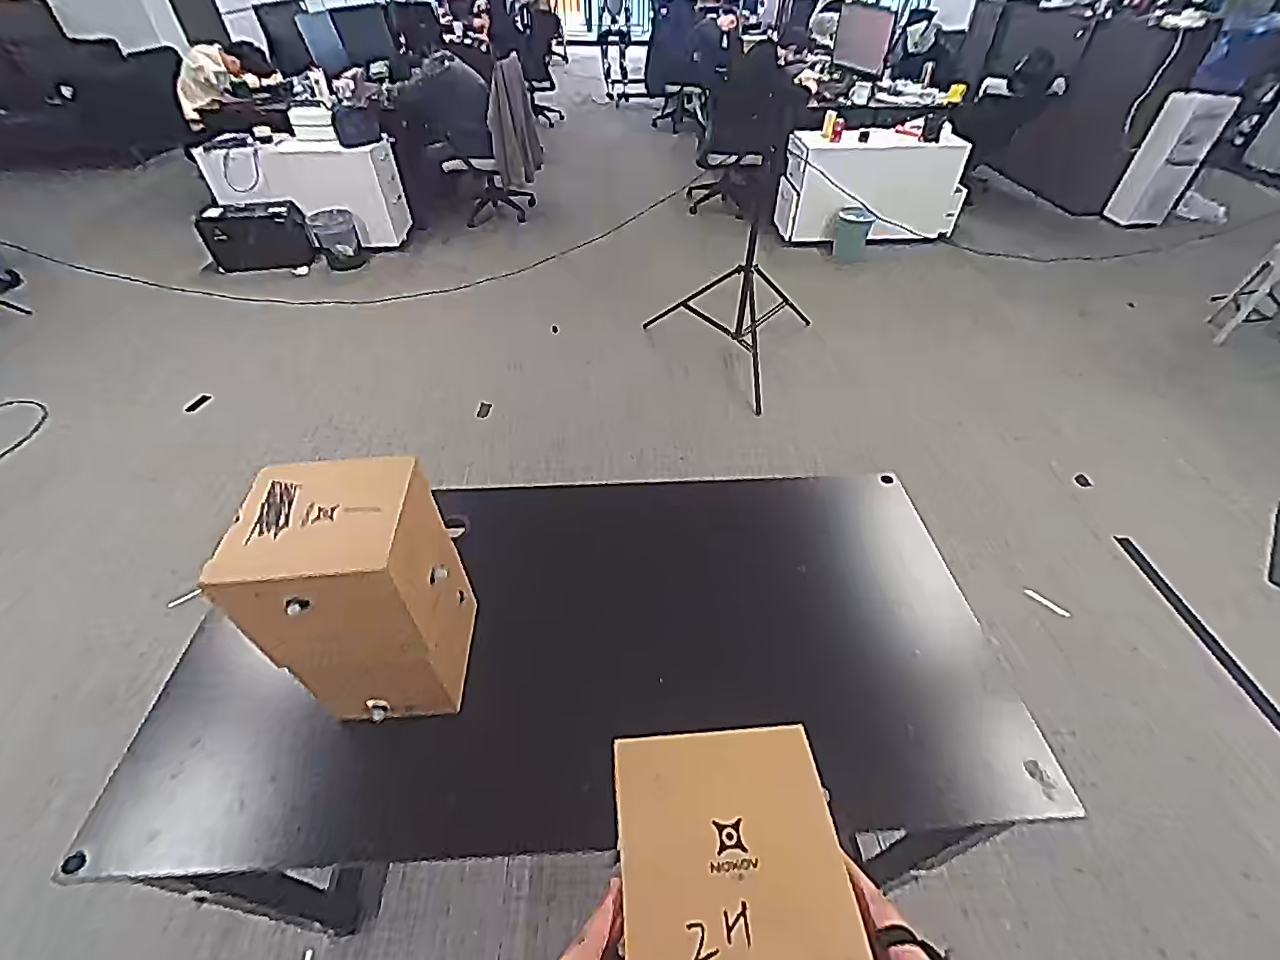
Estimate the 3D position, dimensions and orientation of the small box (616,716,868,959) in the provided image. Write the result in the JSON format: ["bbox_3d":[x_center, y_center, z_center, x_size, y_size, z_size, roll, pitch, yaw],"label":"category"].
[{"bbox_3d":[0.064,0.330,0.463,0.168,0.176,0.179,-3,42,-3],"label":"small box"}]

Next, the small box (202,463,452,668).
[{"bbox_3d":[-0.336,0.101,0.627,0.179,0.176,0.168,-5,44,-4],"label":"small box"}]

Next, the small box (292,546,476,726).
[{"bbox_3d":[-0.333,0.214,0.746,0.168,0.176,0.179,-4,45,-3],"label":"small box"}]
